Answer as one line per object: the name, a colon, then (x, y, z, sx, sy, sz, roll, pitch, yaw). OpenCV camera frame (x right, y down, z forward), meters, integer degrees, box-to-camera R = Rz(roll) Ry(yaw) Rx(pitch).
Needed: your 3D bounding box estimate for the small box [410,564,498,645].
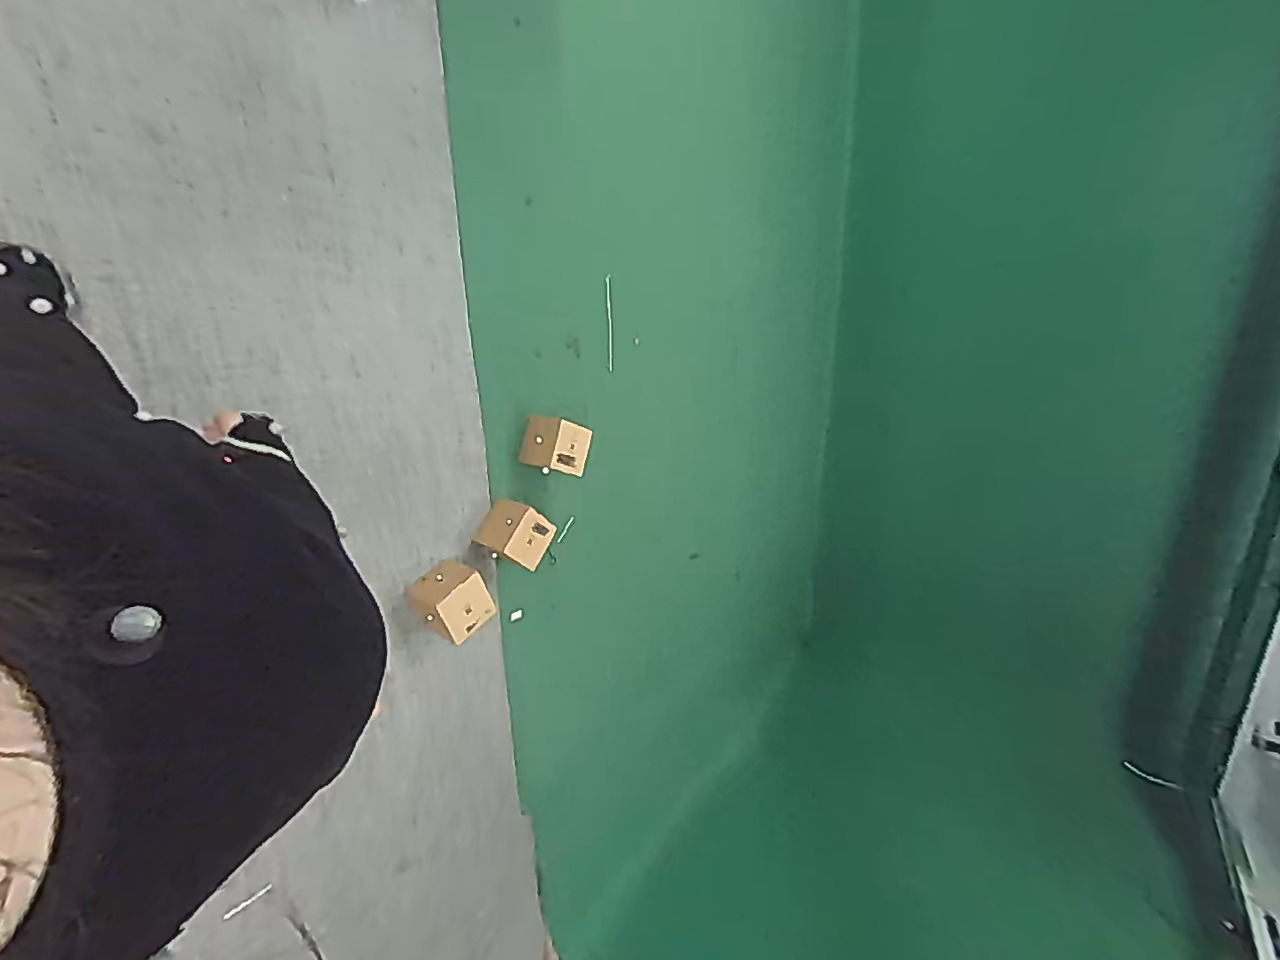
small box: (-0.591, 0.384, 1.710, 0.168, 0.176, 0.179, -42, 129, -38)

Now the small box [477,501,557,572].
small box: (-0.427, 0.190, 1.868, 0.168, 0.176, 0.179, 49, 62, -47)
